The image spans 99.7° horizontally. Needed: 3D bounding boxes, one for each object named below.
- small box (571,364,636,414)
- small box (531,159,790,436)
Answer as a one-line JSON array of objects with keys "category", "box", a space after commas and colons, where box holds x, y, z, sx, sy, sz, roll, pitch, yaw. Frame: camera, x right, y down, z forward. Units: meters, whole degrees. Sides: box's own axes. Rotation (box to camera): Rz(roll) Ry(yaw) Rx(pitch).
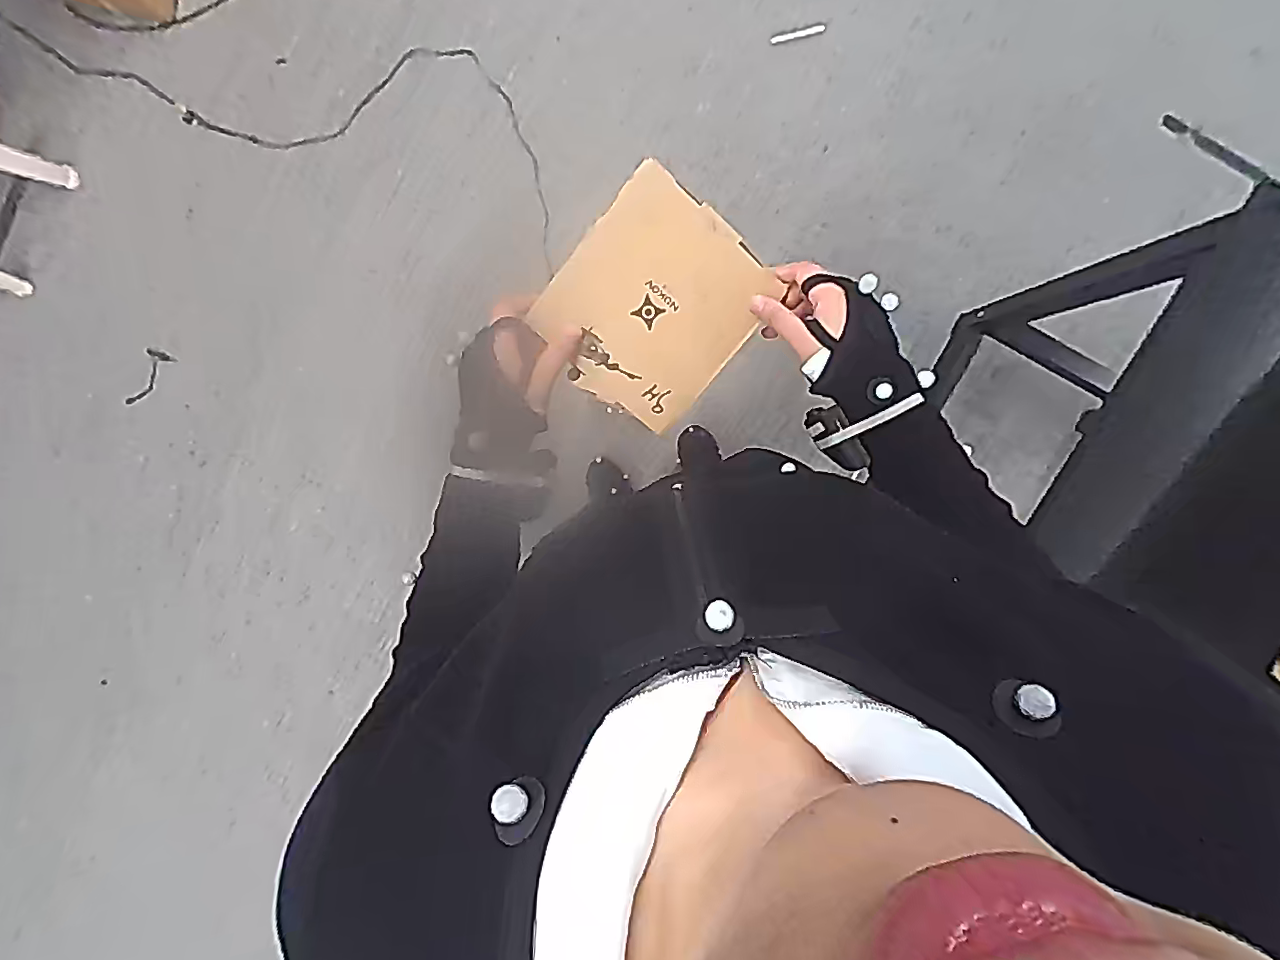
[{"category": "small box", "box": [-0.041, -0.258, 1.235, 0.168, 0.176, 0.179, 22, 94, -1]}, {"category": "small box", "box": [0.015, -0.174, 0.552, 0.168, 0.176, 0.179, 39, 100, -10]}]
